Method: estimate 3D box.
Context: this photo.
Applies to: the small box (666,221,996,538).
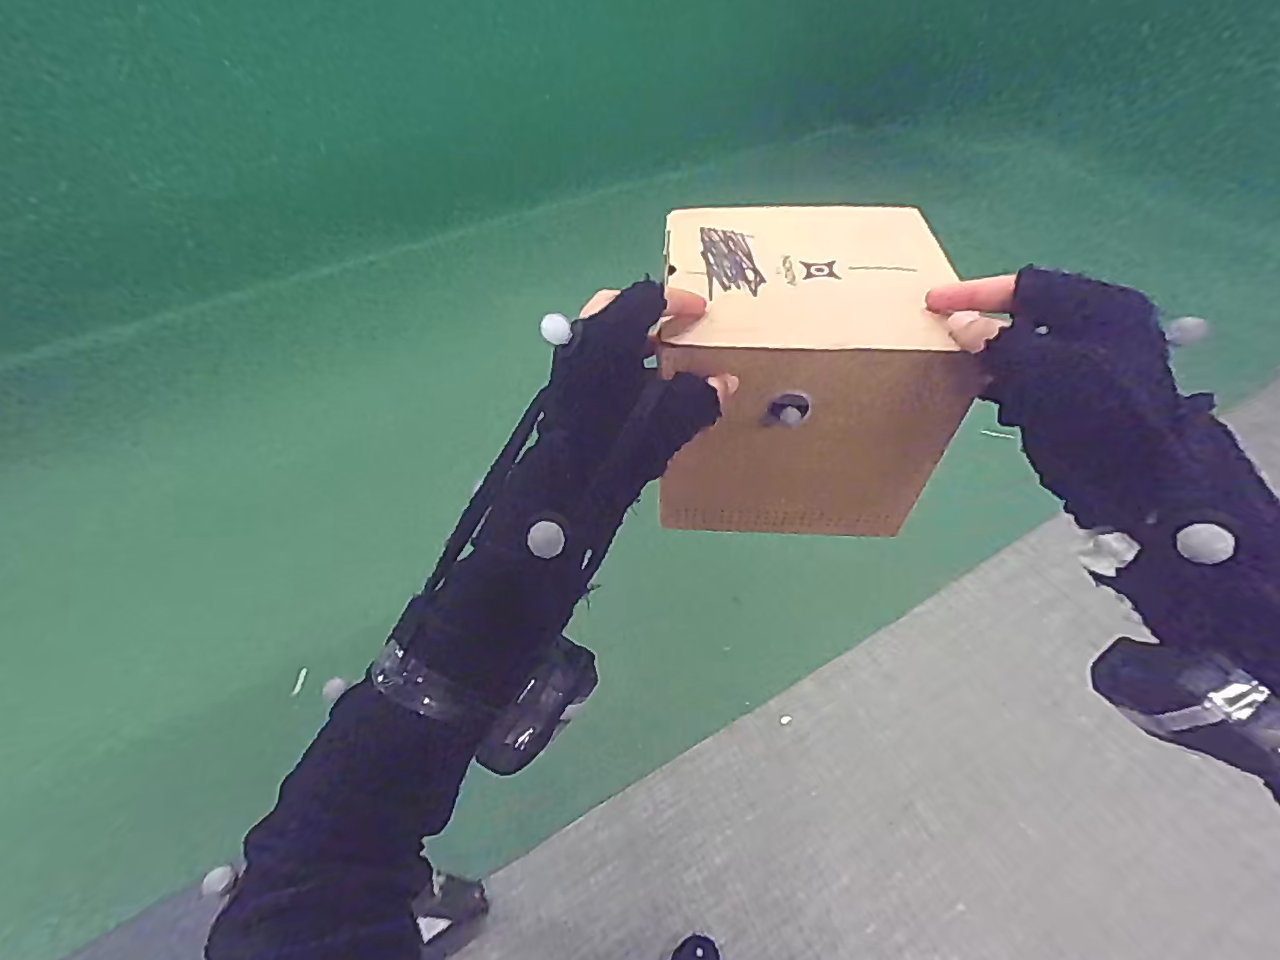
[{"bbox_3d":[0.111,-0.071,0.400,0.179,0.176,0.168,3,49,4],"label":"small box"}]
